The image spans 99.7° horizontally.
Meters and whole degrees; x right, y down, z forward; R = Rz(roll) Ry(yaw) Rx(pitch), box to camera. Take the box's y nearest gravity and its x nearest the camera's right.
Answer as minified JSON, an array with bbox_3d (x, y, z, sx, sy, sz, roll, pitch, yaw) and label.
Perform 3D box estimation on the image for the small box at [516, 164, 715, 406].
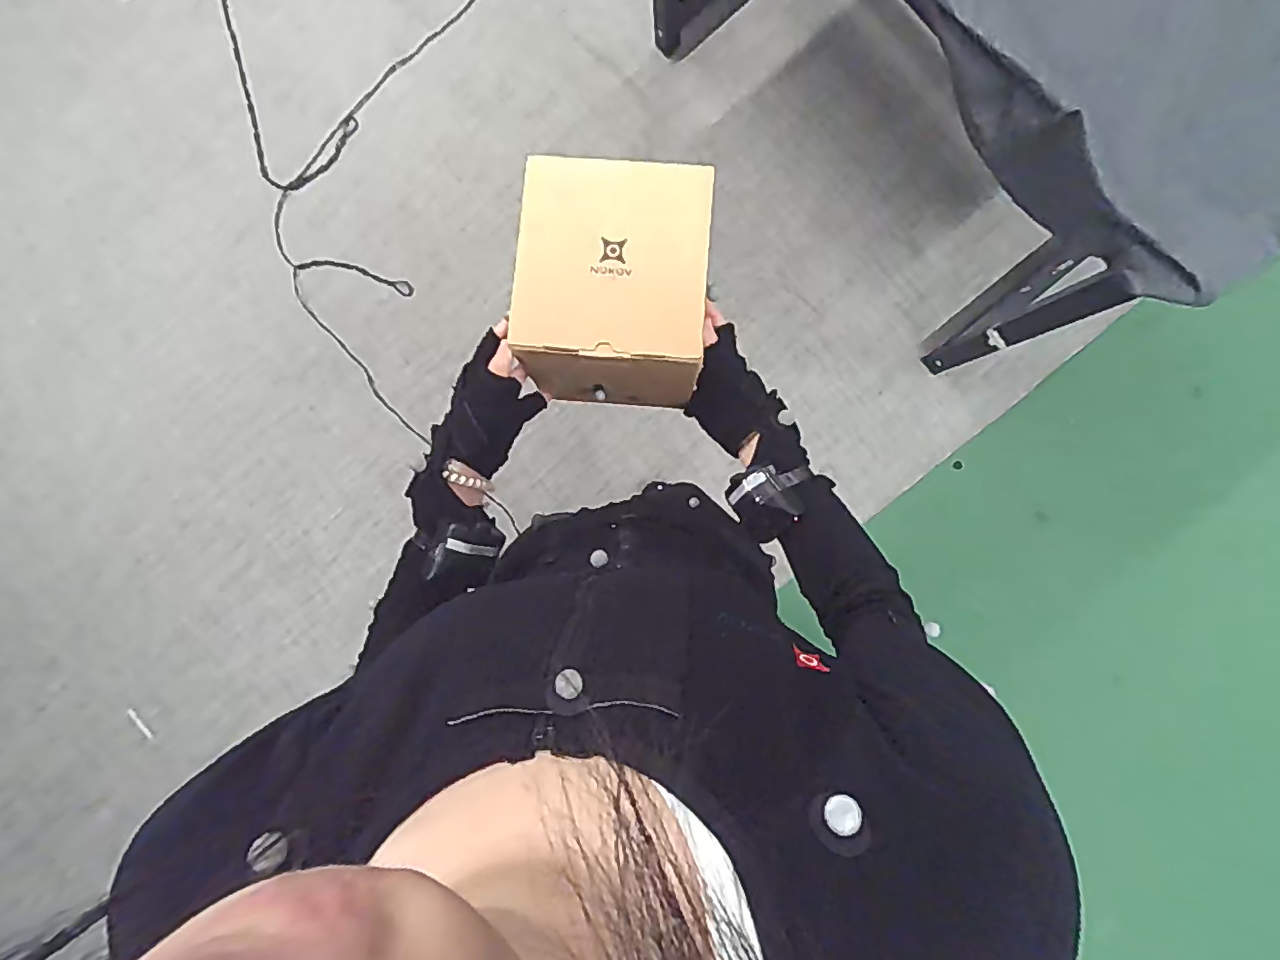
[{"bbox_3d":[-0.020,-0.185,0.556,0.168,0.176,0.179,4,85,1],"label":"small box"}]
